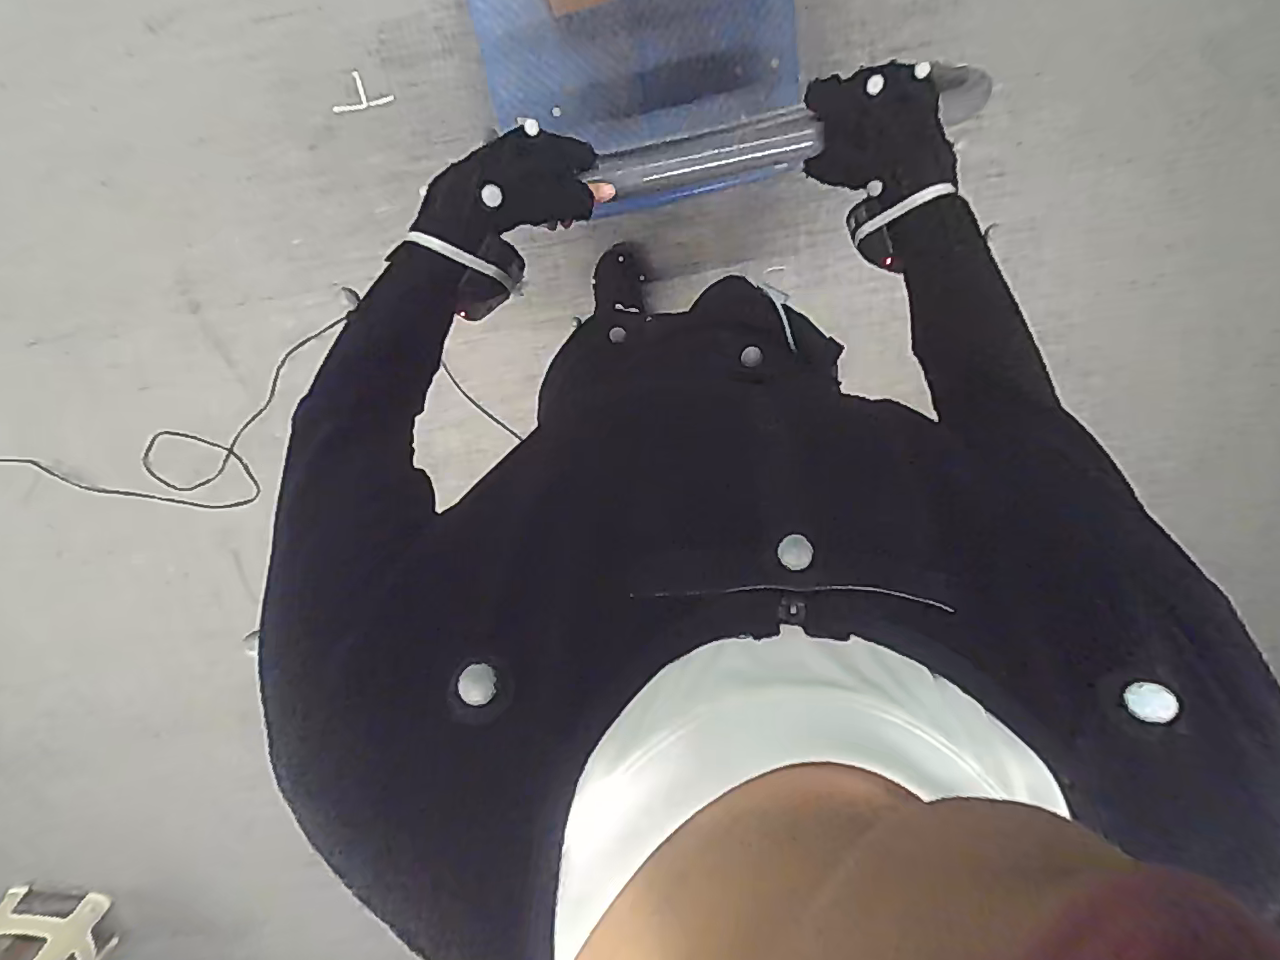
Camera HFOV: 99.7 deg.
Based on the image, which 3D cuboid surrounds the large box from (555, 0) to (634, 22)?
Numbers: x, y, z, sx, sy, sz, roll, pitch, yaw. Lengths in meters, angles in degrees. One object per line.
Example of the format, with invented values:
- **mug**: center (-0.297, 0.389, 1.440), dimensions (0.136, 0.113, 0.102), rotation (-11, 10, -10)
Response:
- **large box**: center (0.014, -0.960, 0.784), dimensions (0.408, 0.320, 0.320), rotation (-14, 113, 5)
